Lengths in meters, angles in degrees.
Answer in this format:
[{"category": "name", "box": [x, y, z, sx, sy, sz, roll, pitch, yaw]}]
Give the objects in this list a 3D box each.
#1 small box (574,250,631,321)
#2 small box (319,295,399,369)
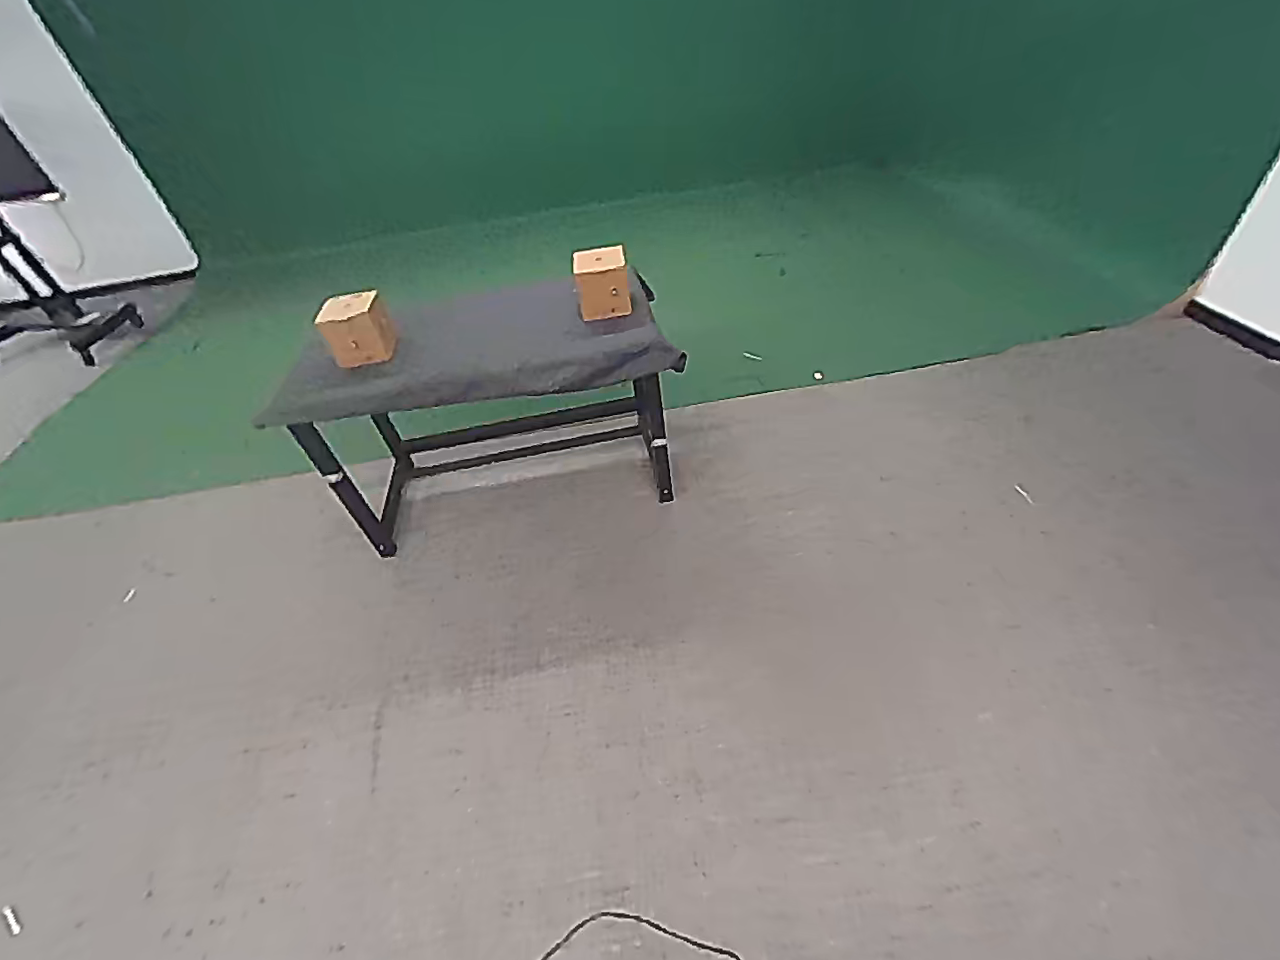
[{"category": "small box", "box": [-0.124, -0.646, 1.810, 0.168, 0.176, 0.179, -8, 42, 0]}, {"category": "small box", "box": [-0.914, -0.481, 1.776, 0.168, 0.176, 0.179, -11, 44, -3]}]
